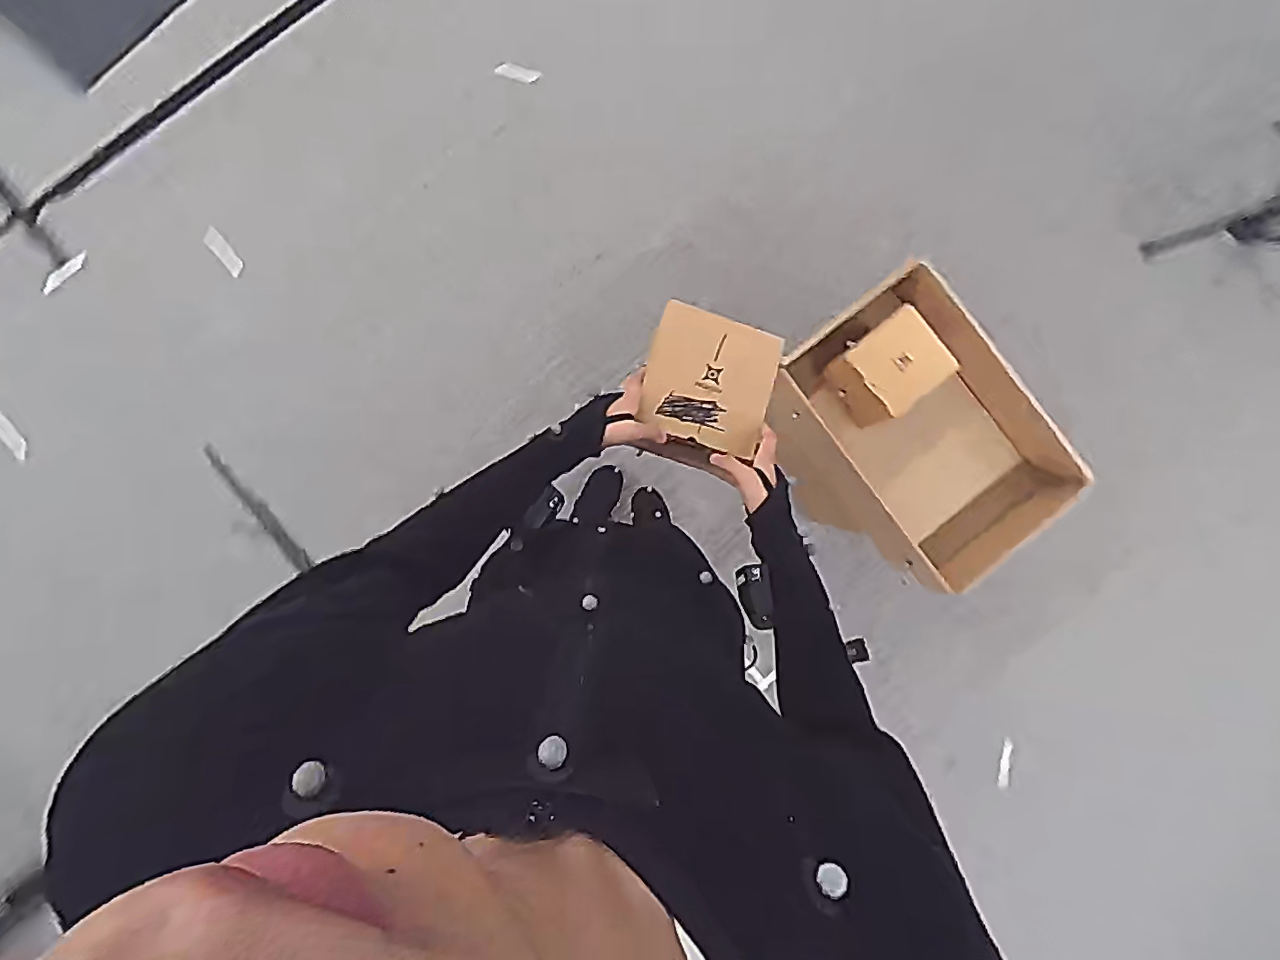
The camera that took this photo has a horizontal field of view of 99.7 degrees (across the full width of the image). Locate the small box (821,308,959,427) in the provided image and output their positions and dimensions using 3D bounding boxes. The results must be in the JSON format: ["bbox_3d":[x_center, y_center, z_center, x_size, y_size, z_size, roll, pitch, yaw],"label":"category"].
[{"bbox_3d":[0.529,-0.235,1.170,0.179,0.176,0.168,-39,91,-2],"label":"small box"}]

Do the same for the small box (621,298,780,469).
[{"bbox_3d":[0.075,-0.122,0.771,0.168,0.176,0.179,17,83,-5],"label":"small box"}]
